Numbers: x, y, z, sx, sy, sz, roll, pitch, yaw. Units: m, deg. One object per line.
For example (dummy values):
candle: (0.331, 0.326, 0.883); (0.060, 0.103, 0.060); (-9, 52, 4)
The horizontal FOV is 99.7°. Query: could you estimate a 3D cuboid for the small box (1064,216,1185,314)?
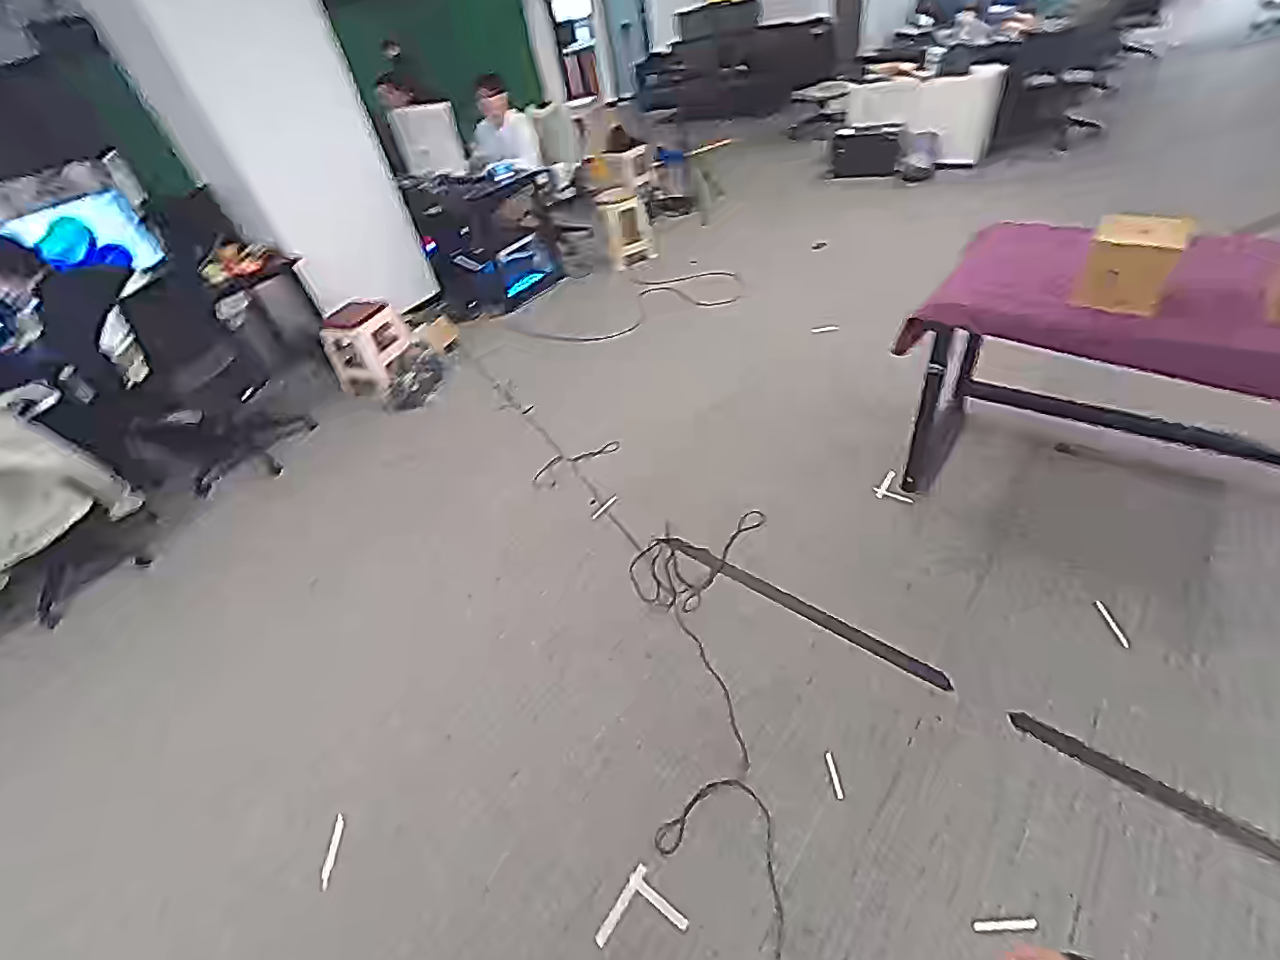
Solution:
small box: (1.173, -0.524, 1.320); (0.168, 0.176, 0.179); (24, 52, 34)
